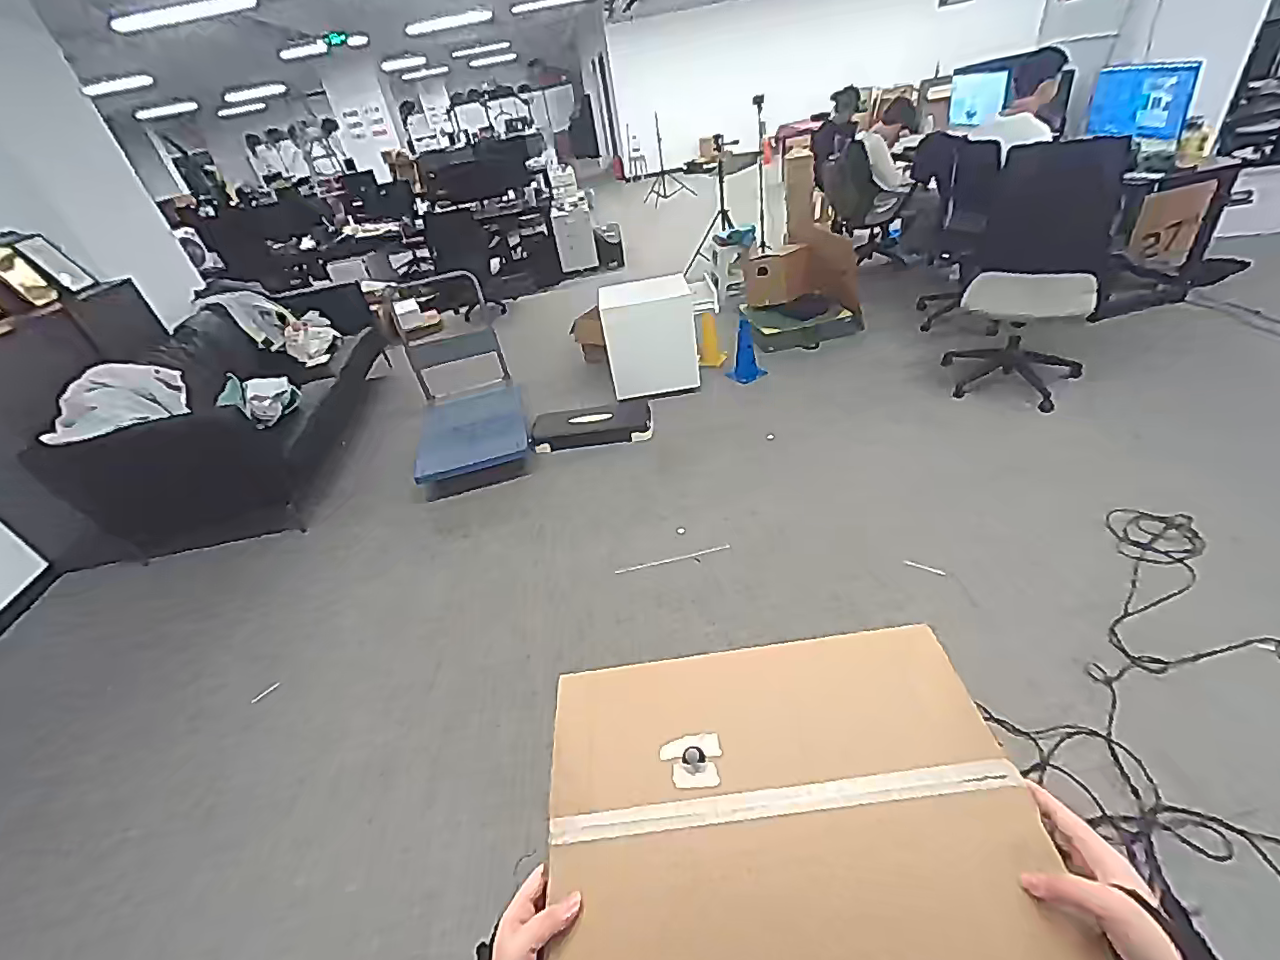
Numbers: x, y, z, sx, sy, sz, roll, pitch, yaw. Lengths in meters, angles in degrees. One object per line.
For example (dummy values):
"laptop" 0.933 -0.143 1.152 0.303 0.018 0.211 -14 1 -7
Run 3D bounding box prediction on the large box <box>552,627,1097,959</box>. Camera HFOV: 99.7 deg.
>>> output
"large box" 0.147 0.404 0.580 0.408 0.320 0.320 -11 39 4
